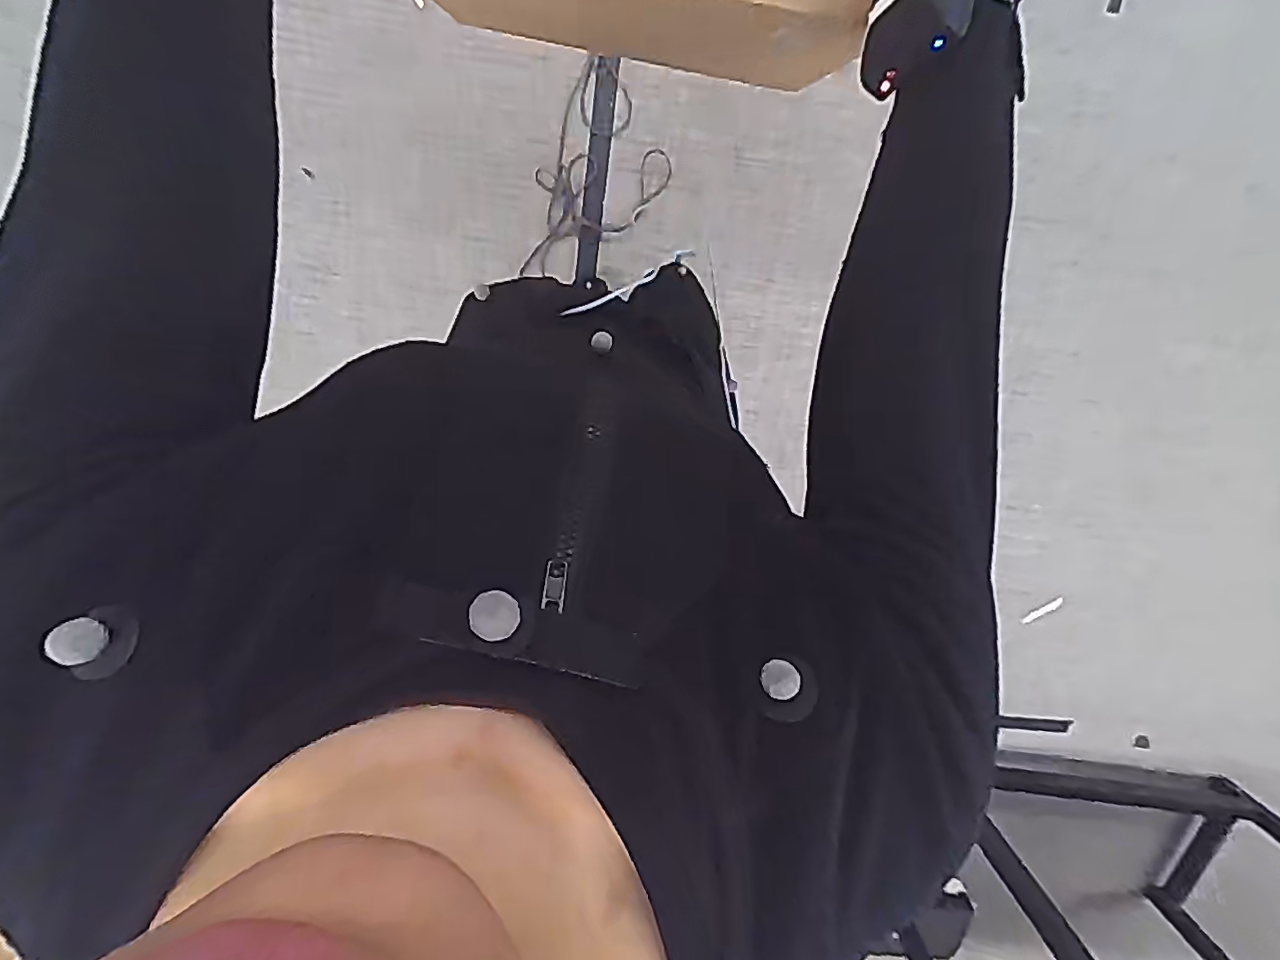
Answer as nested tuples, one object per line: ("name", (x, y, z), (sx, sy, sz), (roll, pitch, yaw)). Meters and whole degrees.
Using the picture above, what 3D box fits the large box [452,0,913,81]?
("large box", (0.019, -0.559, 0.429), (0.408, 0.320, 0.320), (8, 120, -4))
